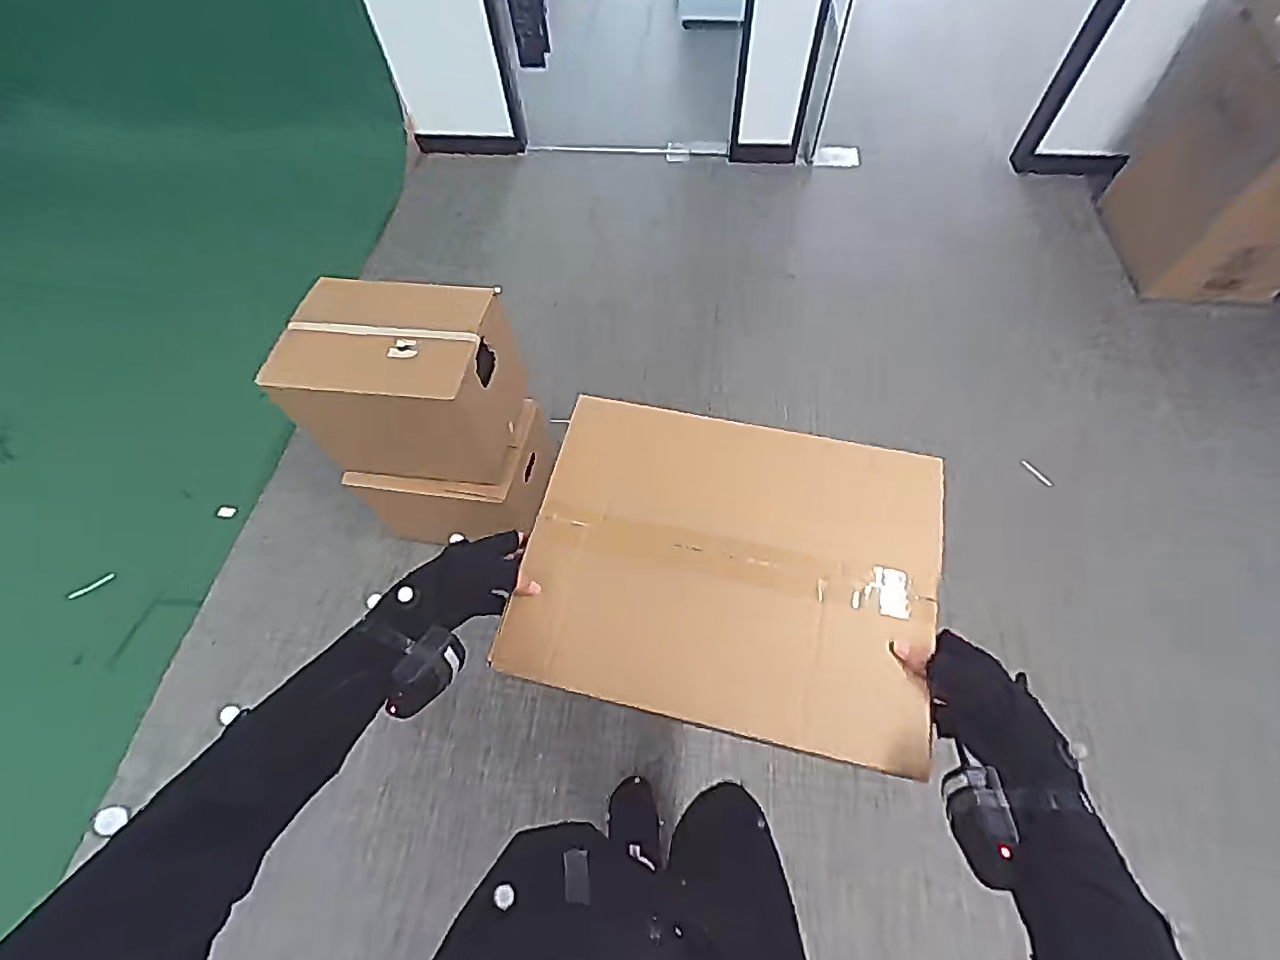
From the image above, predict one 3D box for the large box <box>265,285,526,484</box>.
[{"bbox_3d":[-0.512,-0.210,1.232,0.408,0.320,0.320,6,58,4],"label":"large box"}]
